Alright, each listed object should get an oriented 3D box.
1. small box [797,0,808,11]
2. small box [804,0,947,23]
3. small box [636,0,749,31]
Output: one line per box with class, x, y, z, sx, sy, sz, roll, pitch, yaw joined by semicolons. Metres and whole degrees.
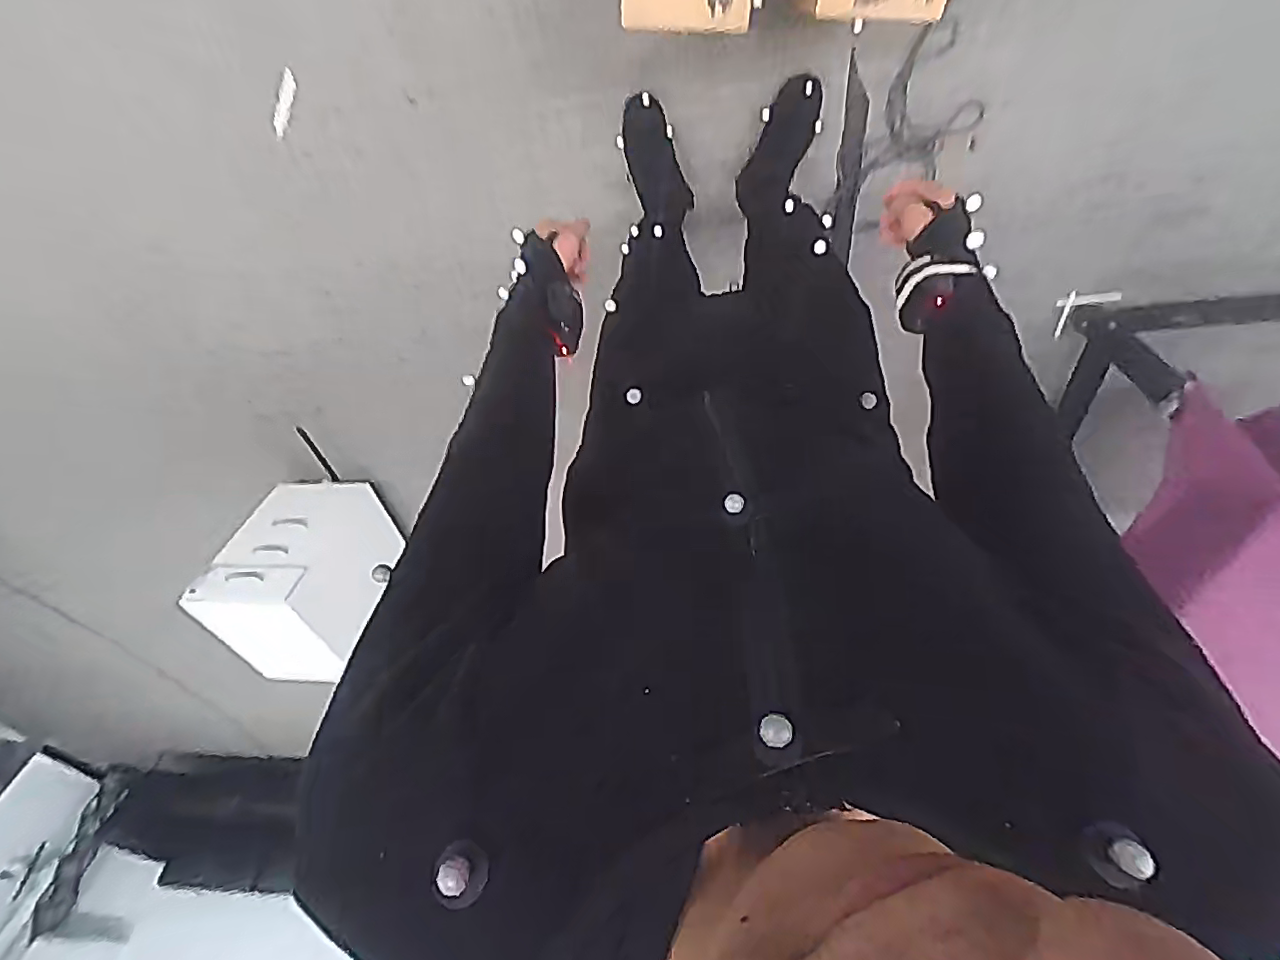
small box;0.341;-0.837;0.831;0.179;0.176;0.168;0;133;9
small box;0.323;-0.723;0.713;0.168;0.176;0.179;5;132;3
small box;0.090;-0.833;0.861;0.179;0.176;0.168;5;133;3
